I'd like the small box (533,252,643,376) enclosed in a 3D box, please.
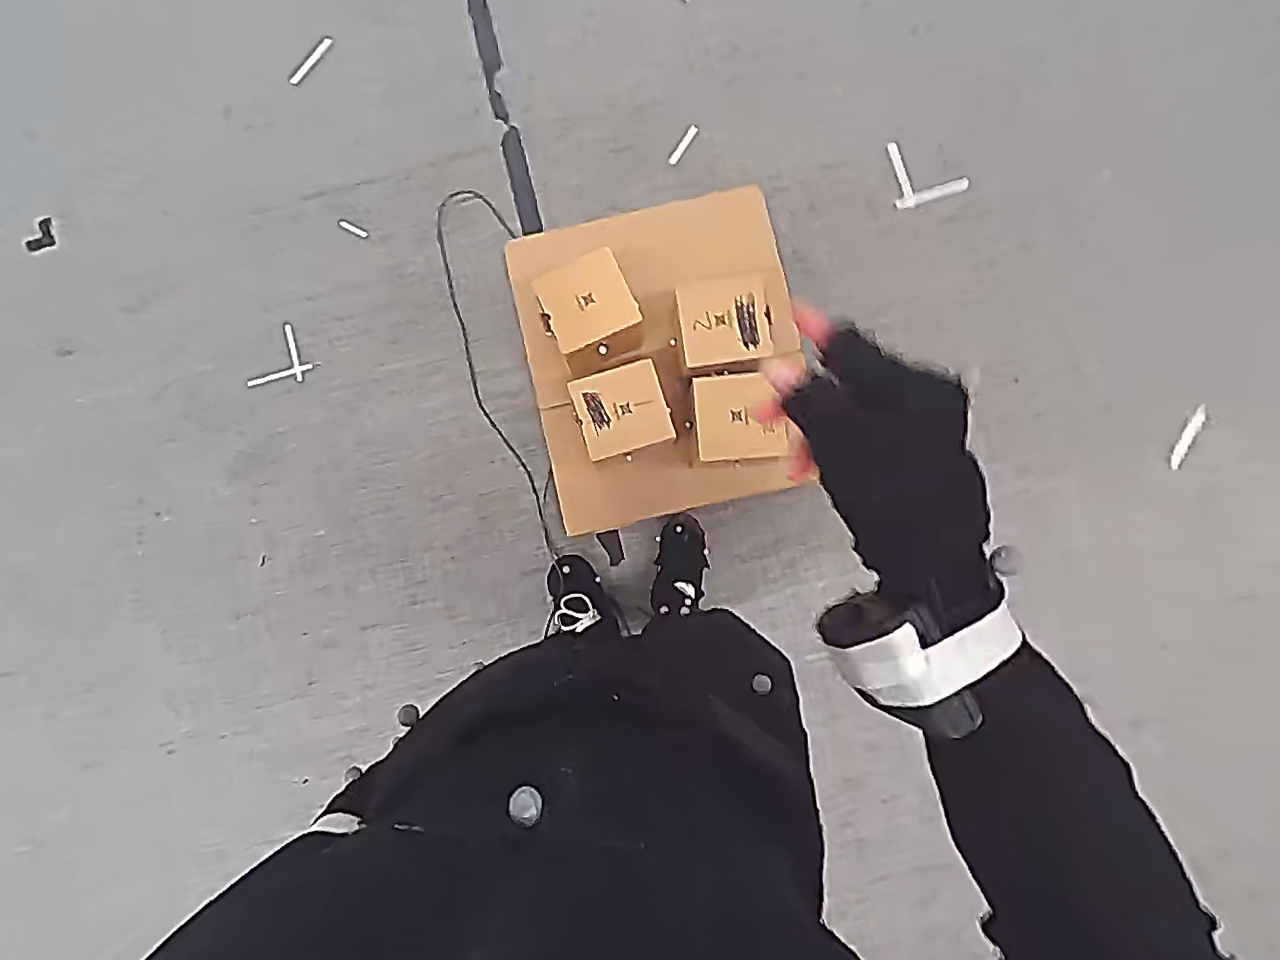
[{"bbox_3d":[-0.104,-0.343,1.151,0.179,0.176,0.168,-25,86,0],"label":"small box"}]
